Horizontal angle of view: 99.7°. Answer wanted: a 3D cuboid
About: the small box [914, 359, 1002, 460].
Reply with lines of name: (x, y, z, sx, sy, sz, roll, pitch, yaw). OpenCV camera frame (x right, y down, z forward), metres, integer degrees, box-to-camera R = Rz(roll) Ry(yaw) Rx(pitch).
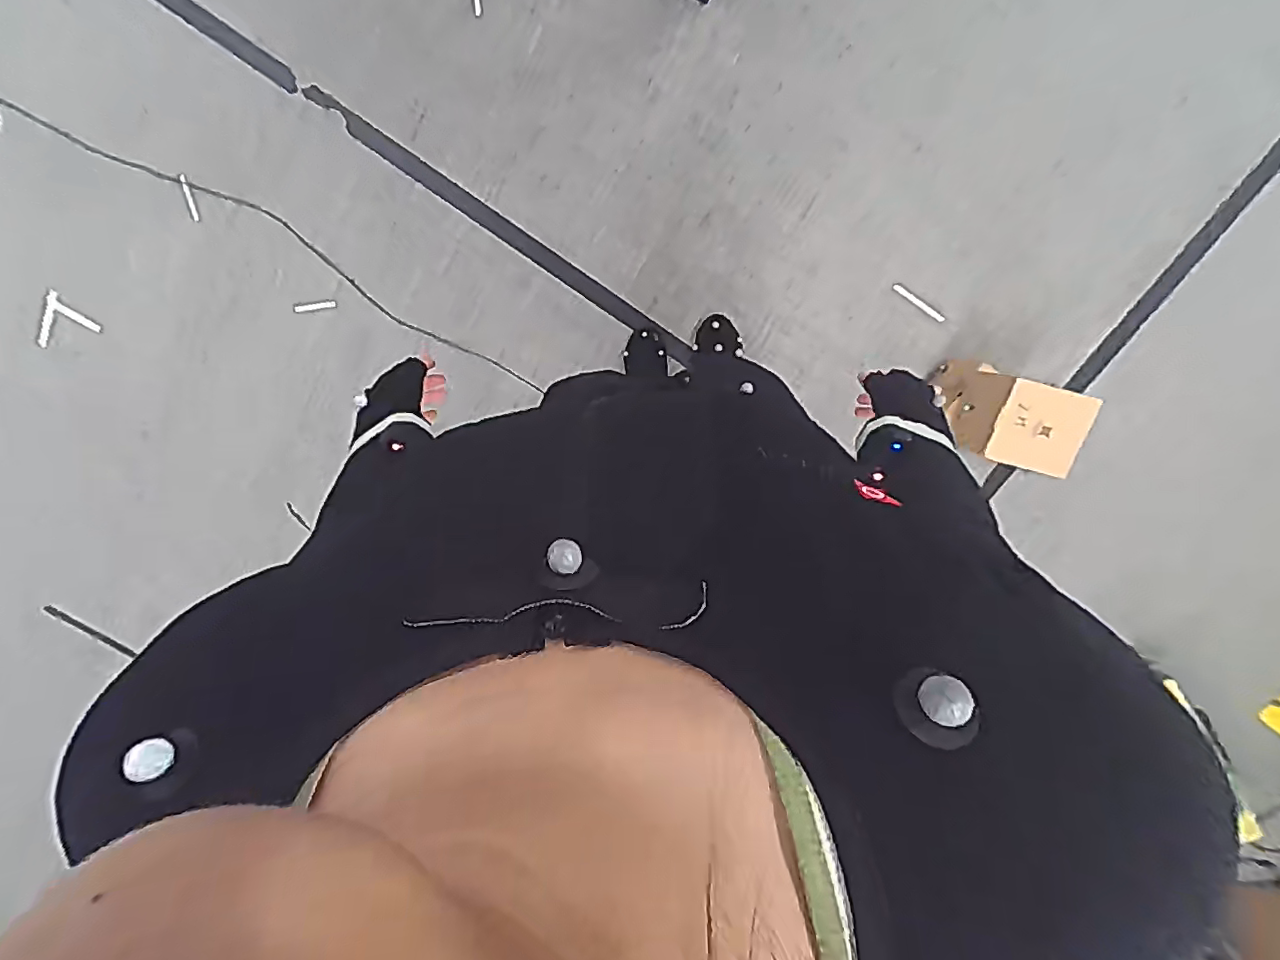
small box: (0.799, -0.176, 1.293, 0.179, 0.176, 0.168, 31, 107, -5)

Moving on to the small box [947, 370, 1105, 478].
small box: (0.795, -0.126, 1.135, 0.179, 0.176, 0.168, 20, 106, 2)
